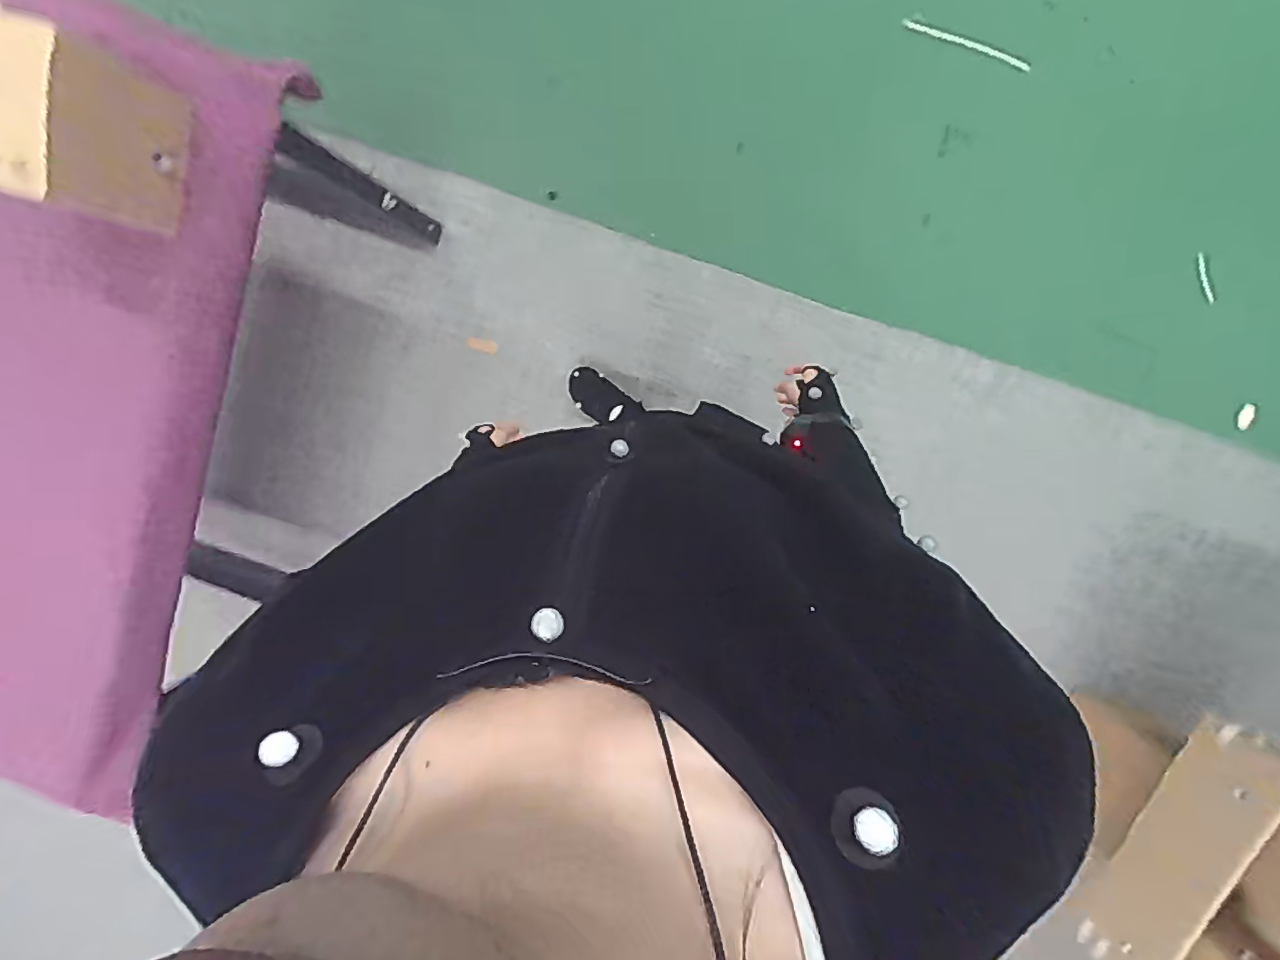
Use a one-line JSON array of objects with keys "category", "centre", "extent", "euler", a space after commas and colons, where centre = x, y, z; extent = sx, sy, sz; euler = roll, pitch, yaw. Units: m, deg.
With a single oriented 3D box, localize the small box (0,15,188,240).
[{"category": "small box", "centre": [-0.697, -0.418, 0.651], "extent": [0.168, 0.176, 0.179], "euler": [16, 101, 1]}]
